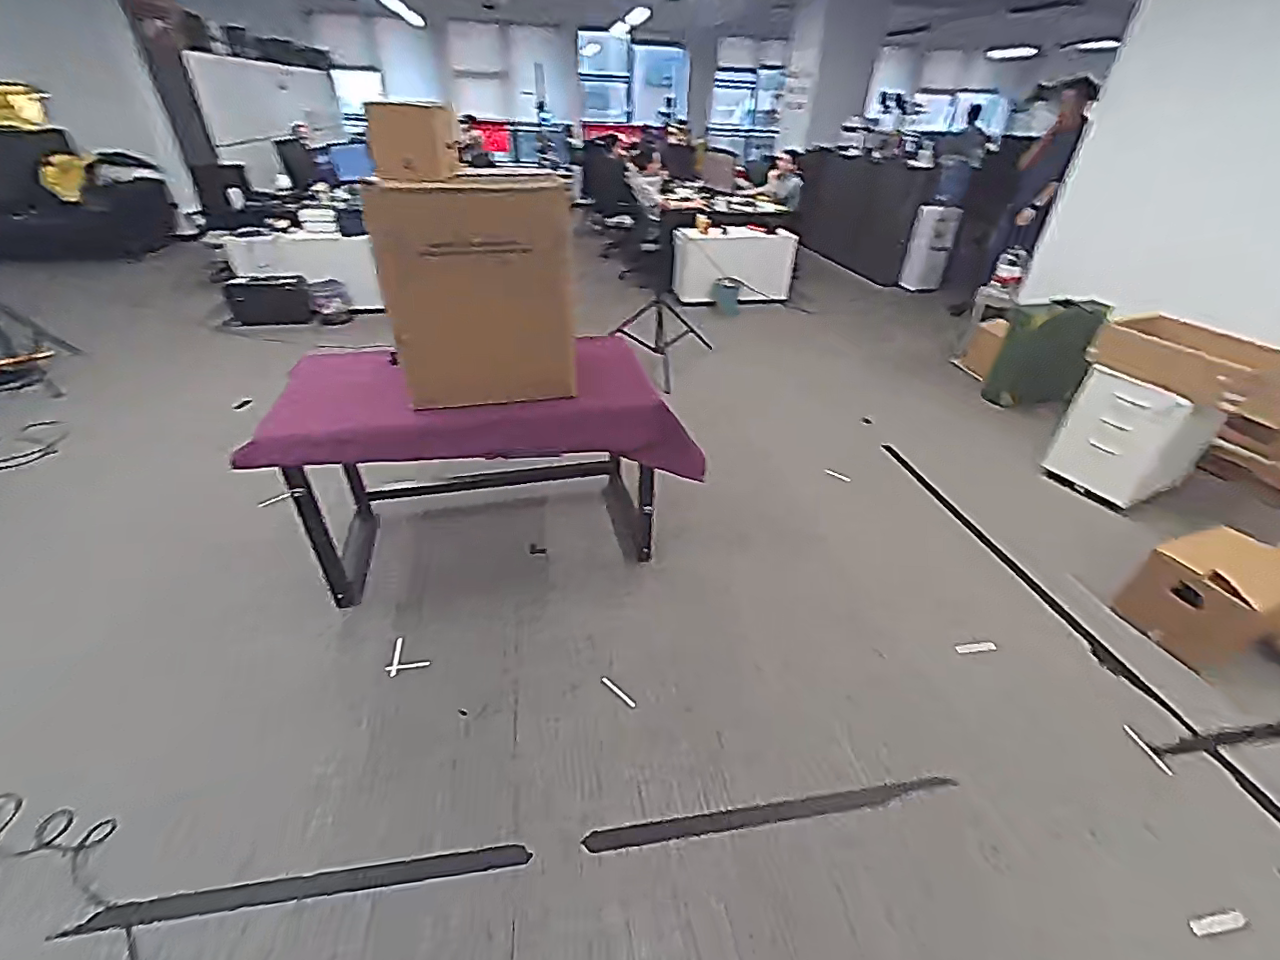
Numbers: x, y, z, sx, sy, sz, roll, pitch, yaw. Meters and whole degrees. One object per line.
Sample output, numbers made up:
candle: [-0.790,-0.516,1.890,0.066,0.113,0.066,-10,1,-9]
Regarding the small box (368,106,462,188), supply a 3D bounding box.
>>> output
small box: [-0.589,-0.888,1.443,0.179,0.176,0.168,3,36,-1]
